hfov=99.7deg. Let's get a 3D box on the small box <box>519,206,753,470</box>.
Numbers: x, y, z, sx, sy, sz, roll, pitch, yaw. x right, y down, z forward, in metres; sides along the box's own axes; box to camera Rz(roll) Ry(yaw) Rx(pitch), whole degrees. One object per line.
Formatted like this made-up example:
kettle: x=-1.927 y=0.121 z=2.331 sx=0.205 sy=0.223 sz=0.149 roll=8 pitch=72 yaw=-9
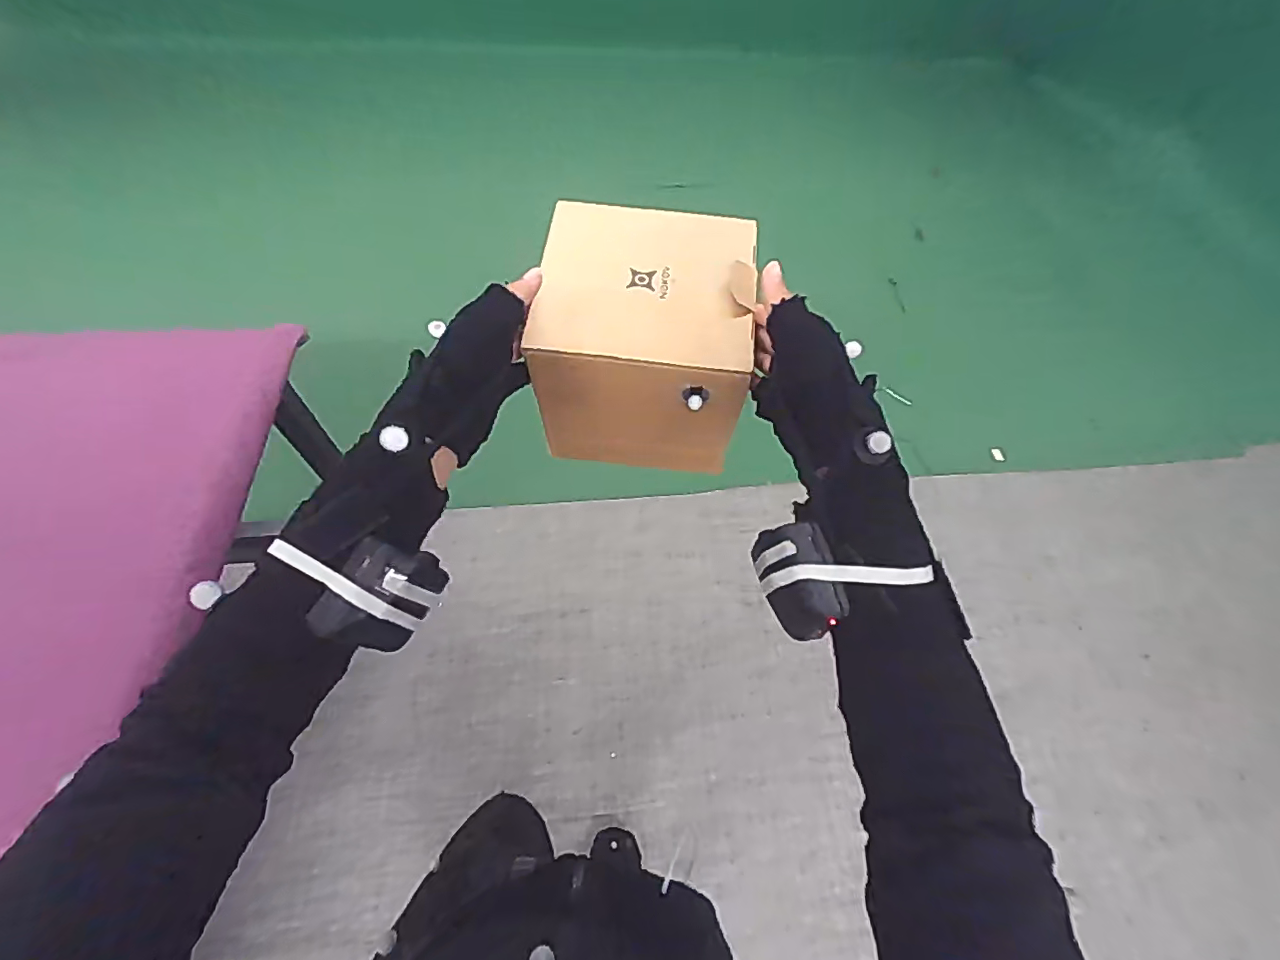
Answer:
small box: x=0.002 y=-0.122 z=0.505 sx=0.179 sy=0.176 sz=0.168 roll=6 pitch=63 yaw=1
